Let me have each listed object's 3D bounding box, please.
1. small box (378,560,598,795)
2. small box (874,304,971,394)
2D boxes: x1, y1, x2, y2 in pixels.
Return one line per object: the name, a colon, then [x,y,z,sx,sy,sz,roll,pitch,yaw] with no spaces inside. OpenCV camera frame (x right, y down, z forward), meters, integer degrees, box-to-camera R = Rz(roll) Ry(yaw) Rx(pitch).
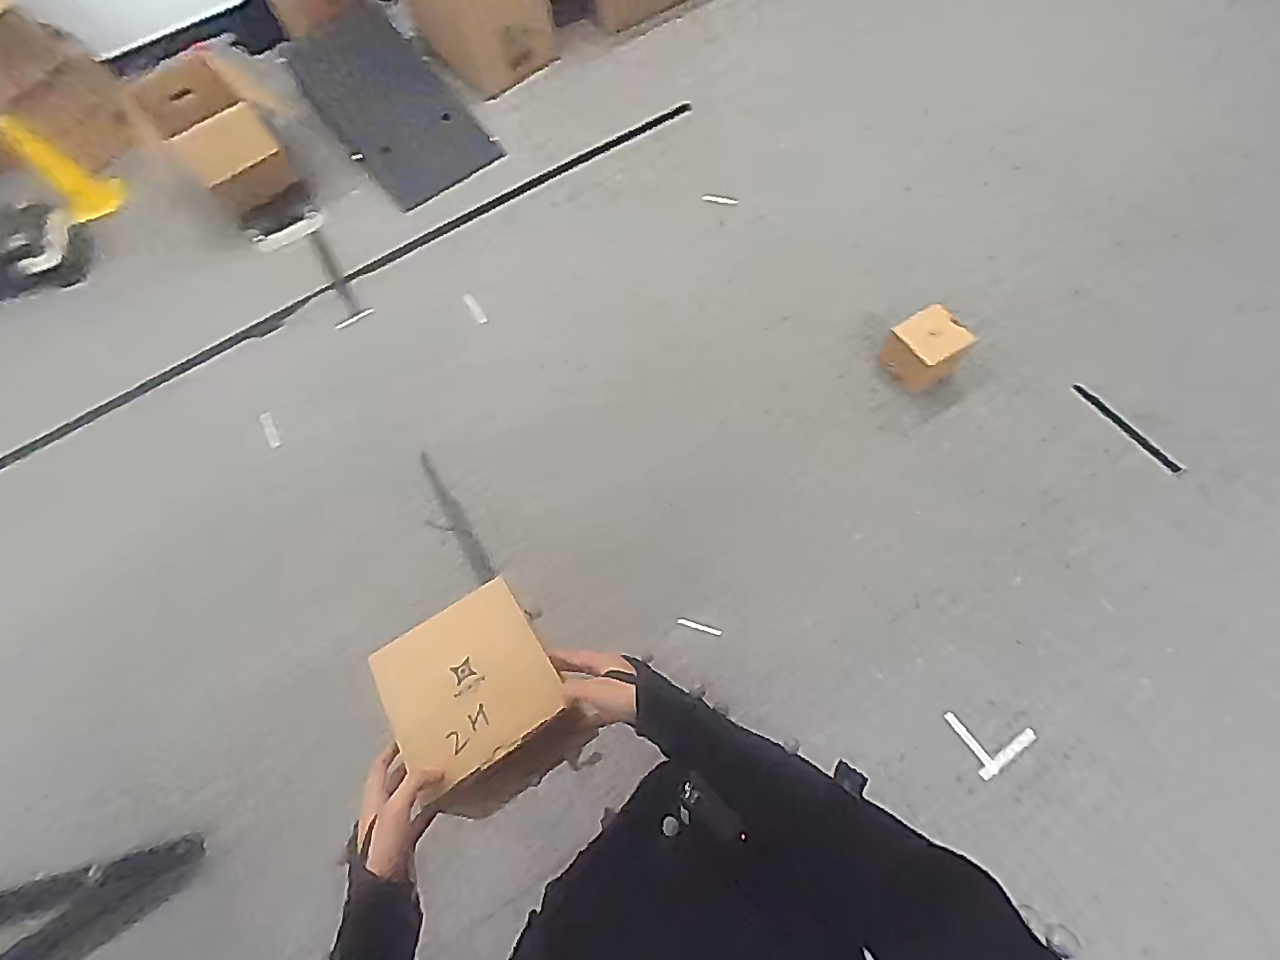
small box: [-0.167,0.232,0.627,0.168,0.176,0.179,-30,57,-14]
small box: [0.862,-0.400,1.669,0.179,0.176,0.168,-29,67,-8]
